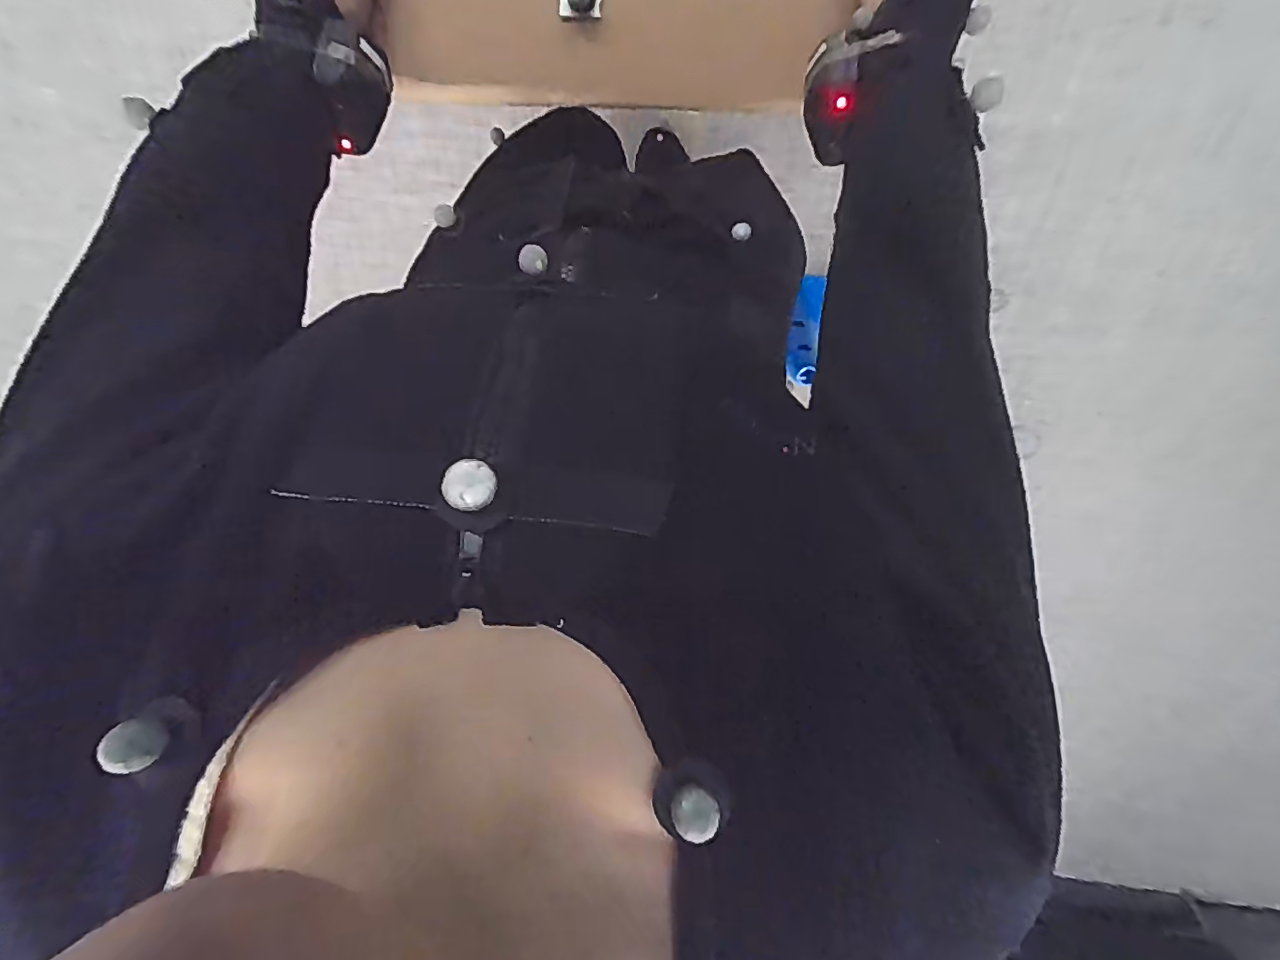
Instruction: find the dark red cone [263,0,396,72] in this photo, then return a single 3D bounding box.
[{"bbox_3d":[-0.562,-0.782,0.821,0.202,0.394,0.201,0,118,7],"label":"dark red cone"}]
